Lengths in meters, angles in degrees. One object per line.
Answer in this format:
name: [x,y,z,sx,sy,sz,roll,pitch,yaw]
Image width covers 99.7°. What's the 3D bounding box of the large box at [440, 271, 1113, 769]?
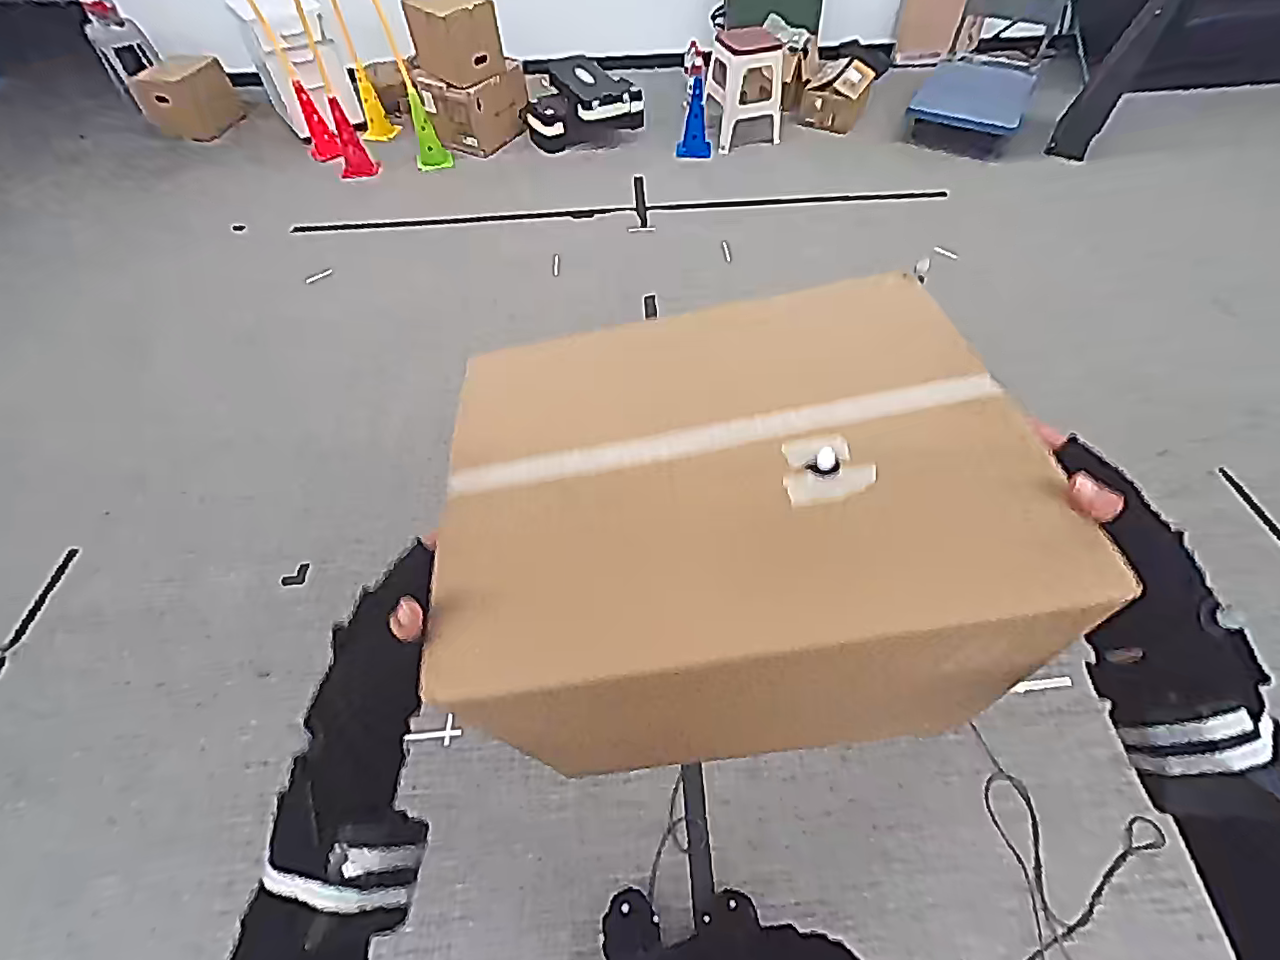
large box: [0.079,0.053,0.519,0.408,0.320,0.320,-10,52,3]
